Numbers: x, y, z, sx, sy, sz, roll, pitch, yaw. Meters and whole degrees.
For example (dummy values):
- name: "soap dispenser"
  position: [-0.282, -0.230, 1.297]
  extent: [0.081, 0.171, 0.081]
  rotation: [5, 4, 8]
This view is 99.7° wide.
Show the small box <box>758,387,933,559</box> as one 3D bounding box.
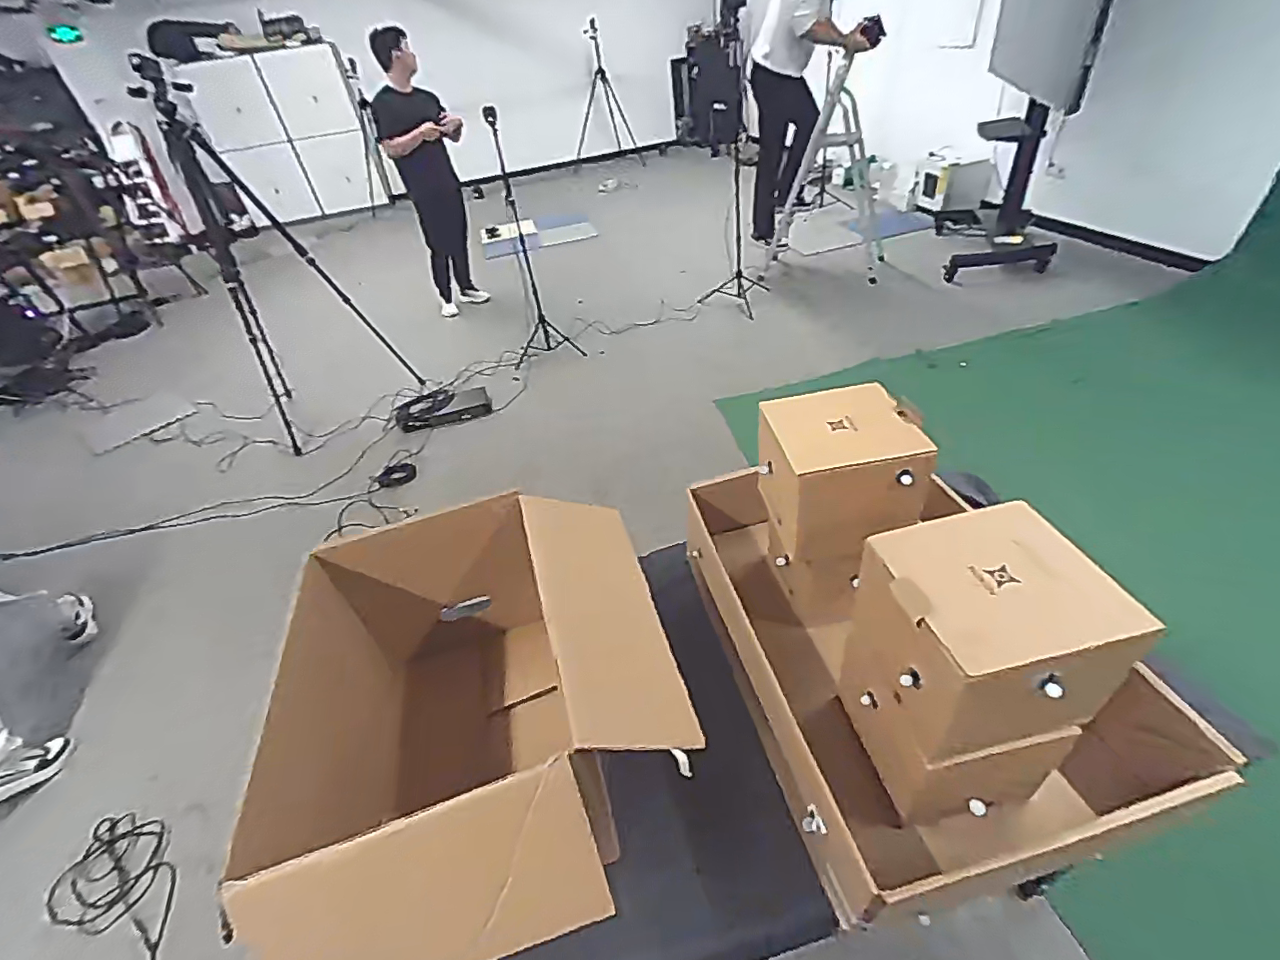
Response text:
- name: "small box"
  position: [0.273, -0.007, 0.763]
  extent: [0.179, 0.176, 0.168]
  rotation: [-9, 41, -1]

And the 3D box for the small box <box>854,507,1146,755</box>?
- name: "small box"
  position: [0.340, 0.157, 0.560]
  extent: [0.179, 0.176, 0.168]
  rotation: [-12, 41, -4]
